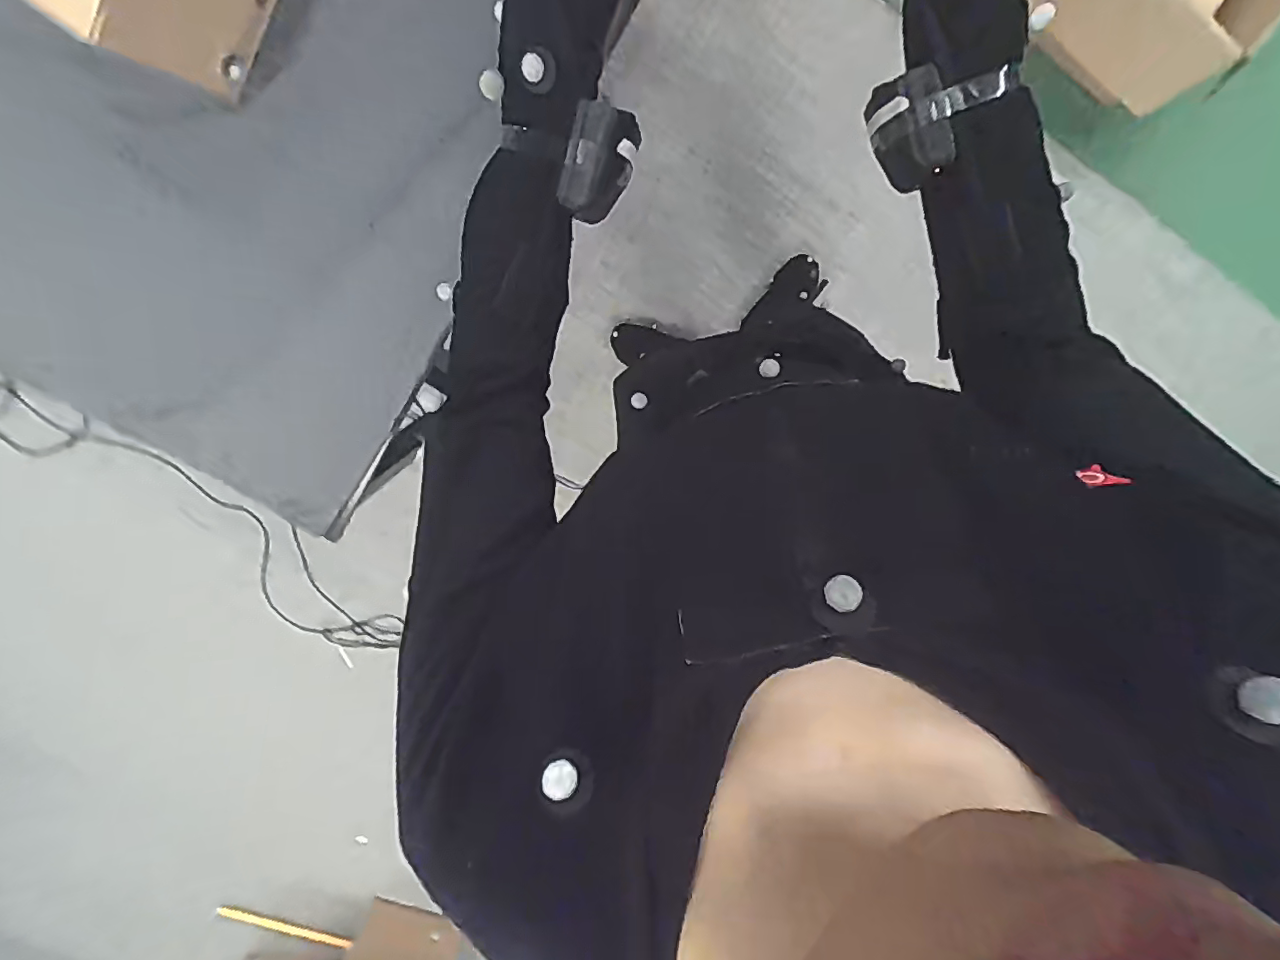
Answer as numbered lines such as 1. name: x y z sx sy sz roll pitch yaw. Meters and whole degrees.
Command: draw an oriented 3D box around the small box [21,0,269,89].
1. small box: -0.467 -0.490 0.478 0.179 0.176 0.168 35 108 -11
